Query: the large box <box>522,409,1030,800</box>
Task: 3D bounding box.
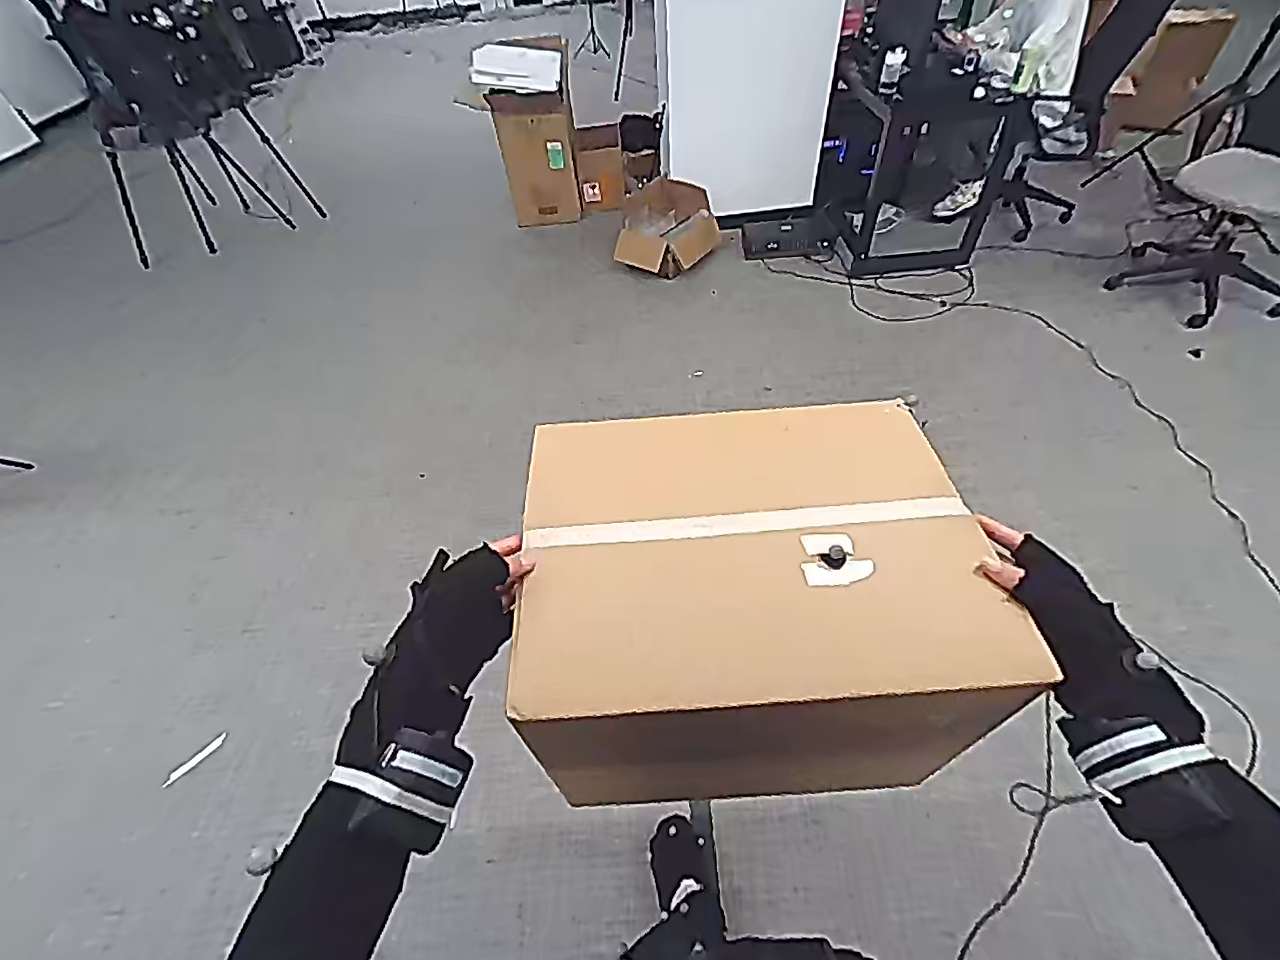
[{"bbox_3d":[0.101,0.147,0.622,0.408,0.320,0.320,-4,49,0],"label":"large box"}]
